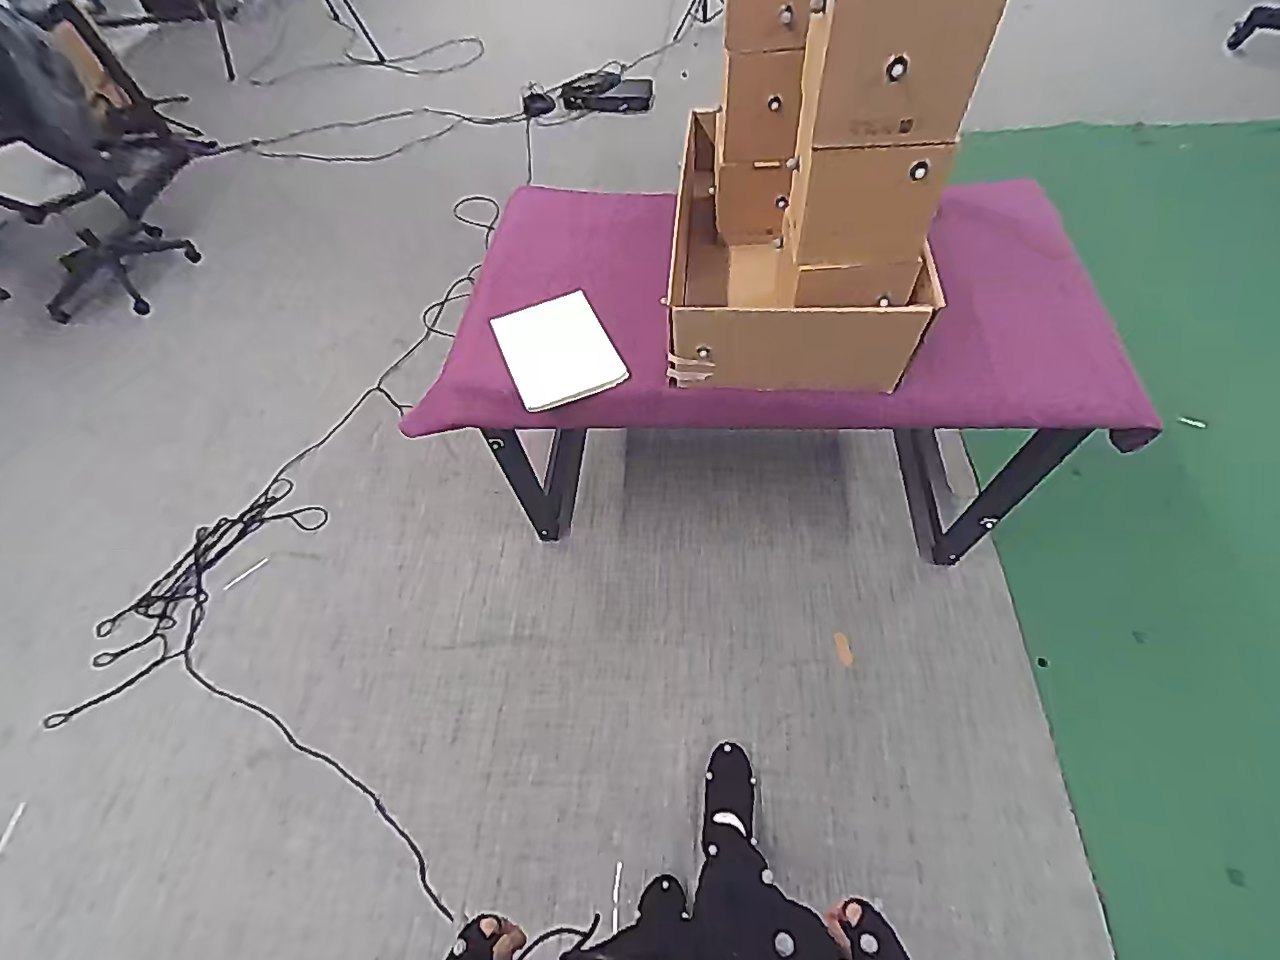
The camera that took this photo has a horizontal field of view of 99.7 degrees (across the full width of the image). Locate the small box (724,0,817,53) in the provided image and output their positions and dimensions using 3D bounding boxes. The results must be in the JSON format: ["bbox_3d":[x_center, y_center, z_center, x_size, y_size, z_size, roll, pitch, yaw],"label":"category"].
[{"bbox_3d":[0.219,-0.752,0.782,0.179,0.176,0.168,3,59,5],"label":"small box"}]

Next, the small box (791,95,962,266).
[{"bbox_3d":[0.311,-0.419,0.757,0.179,0.176,0.168,3,57,7],"label":"small box"}]

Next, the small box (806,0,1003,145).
[{"bbox_3d":[0.291,-0.509,0.620,0.168,0.176,0.179,3,57,7],"label":"small box"}]

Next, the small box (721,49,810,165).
[{"bbox_3d":[0.233,-0.665,0.921,0.179,0.176,0.168,0,59,5],"label":"small box"}]
